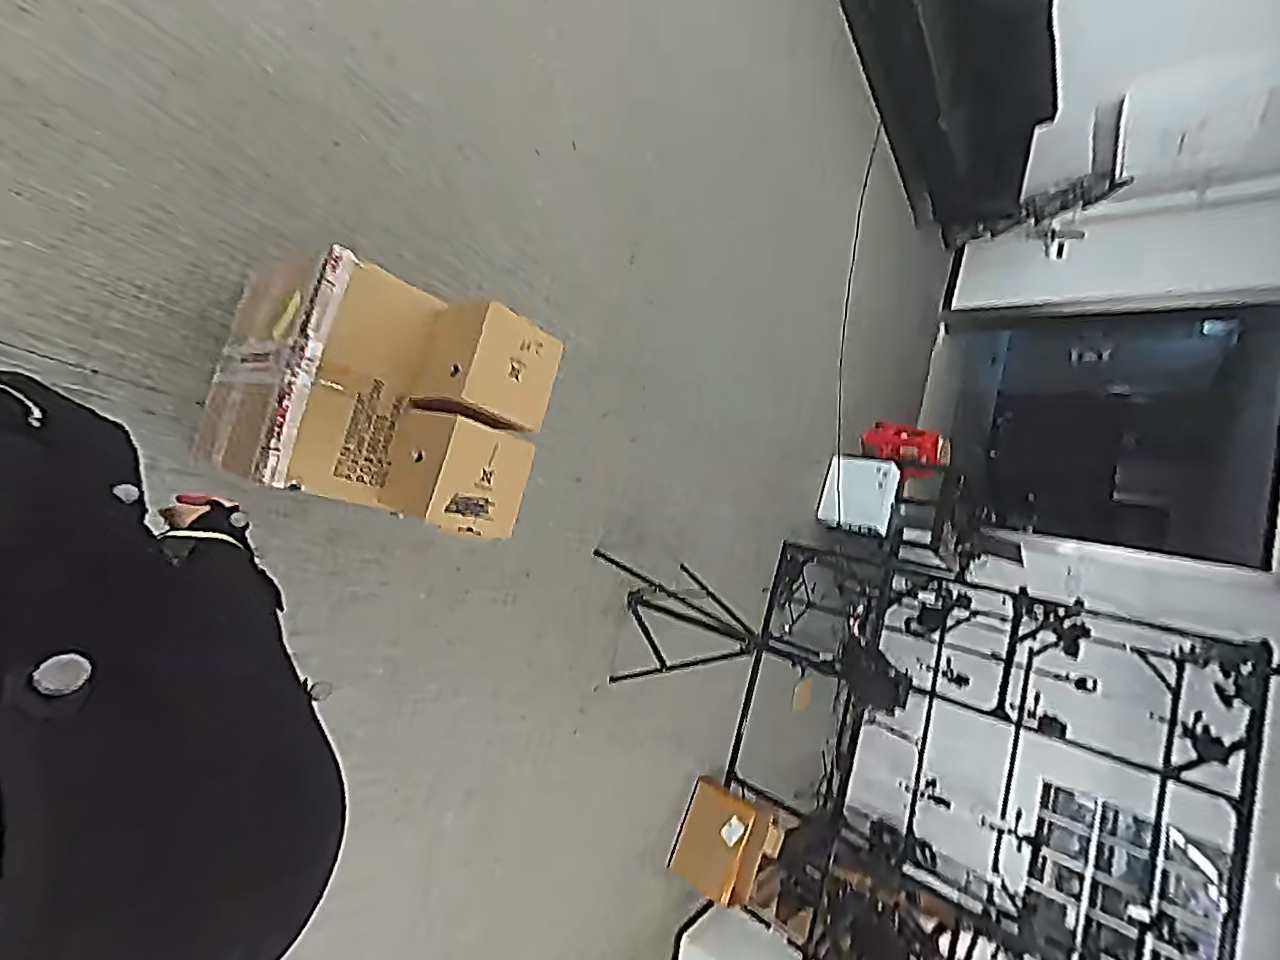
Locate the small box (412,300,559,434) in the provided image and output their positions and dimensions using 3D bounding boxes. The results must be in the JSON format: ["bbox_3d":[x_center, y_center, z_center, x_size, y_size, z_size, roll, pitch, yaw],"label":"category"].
[{"bbox_3d":[-0.279,-0.193,0.965,0.168,0.176,0.179,25,76,-49],"label":"small box"}]

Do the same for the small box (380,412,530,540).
[{"bbox_3d":[-0.327,-0.009,0.945,0.168,0.176,0.179,23,80,-48],"label":"small box"}]
